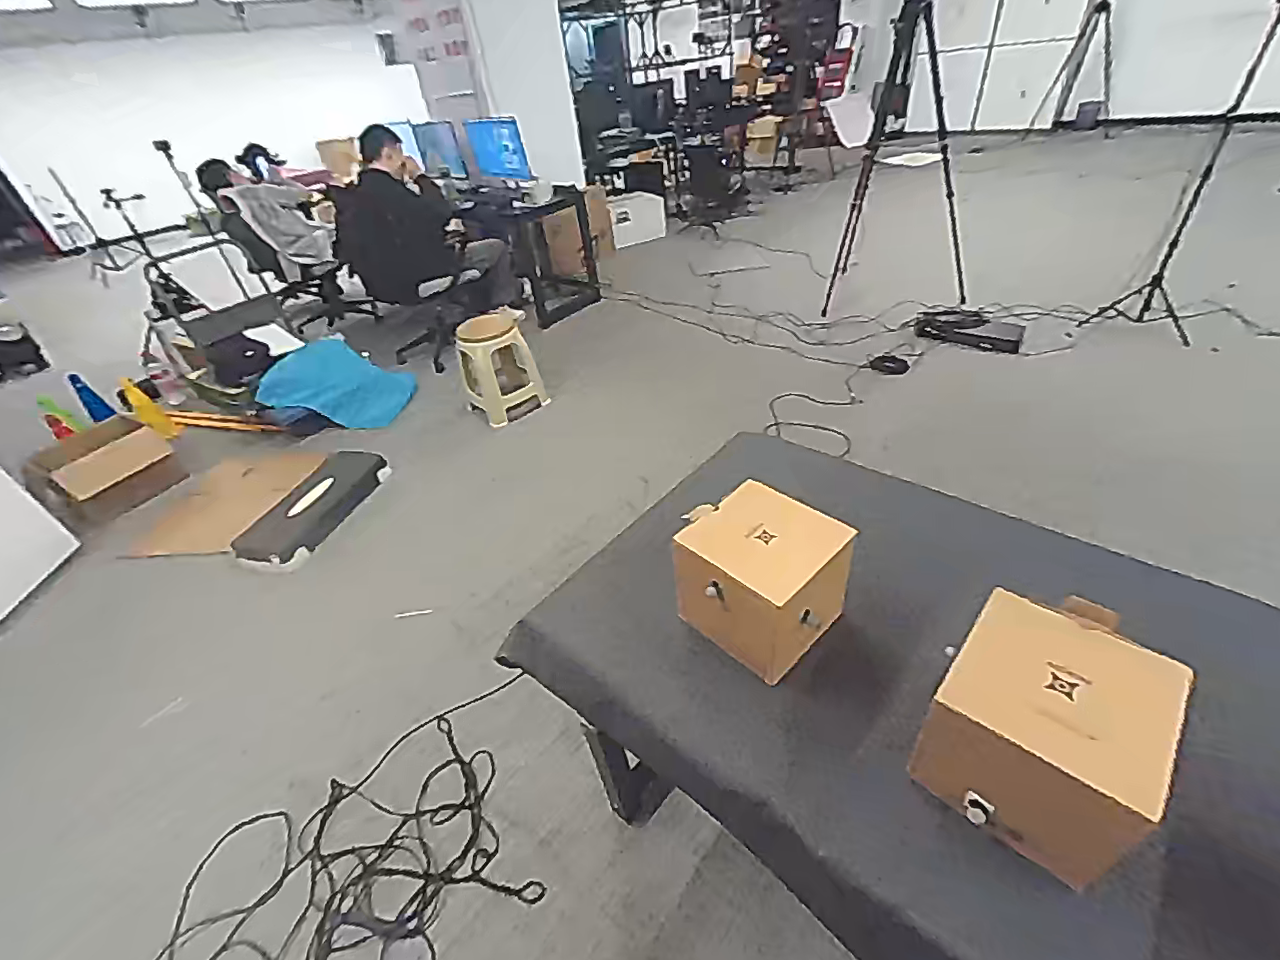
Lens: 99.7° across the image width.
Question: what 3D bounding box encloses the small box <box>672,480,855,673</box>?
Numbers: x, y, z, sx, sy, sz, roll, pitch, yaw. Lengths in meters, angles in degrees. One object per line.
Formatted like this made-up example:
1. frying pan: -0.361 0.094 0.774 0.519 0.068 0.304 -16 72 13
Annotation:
1. small box: 0.167 0.135 0.748 0.168 0.176 0.179 -33 44 -30

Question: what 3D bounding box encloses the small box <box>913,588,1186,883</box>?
1. small box: 0.403 0.253 0.554 0.168 0.176 0.179 24 48 36
